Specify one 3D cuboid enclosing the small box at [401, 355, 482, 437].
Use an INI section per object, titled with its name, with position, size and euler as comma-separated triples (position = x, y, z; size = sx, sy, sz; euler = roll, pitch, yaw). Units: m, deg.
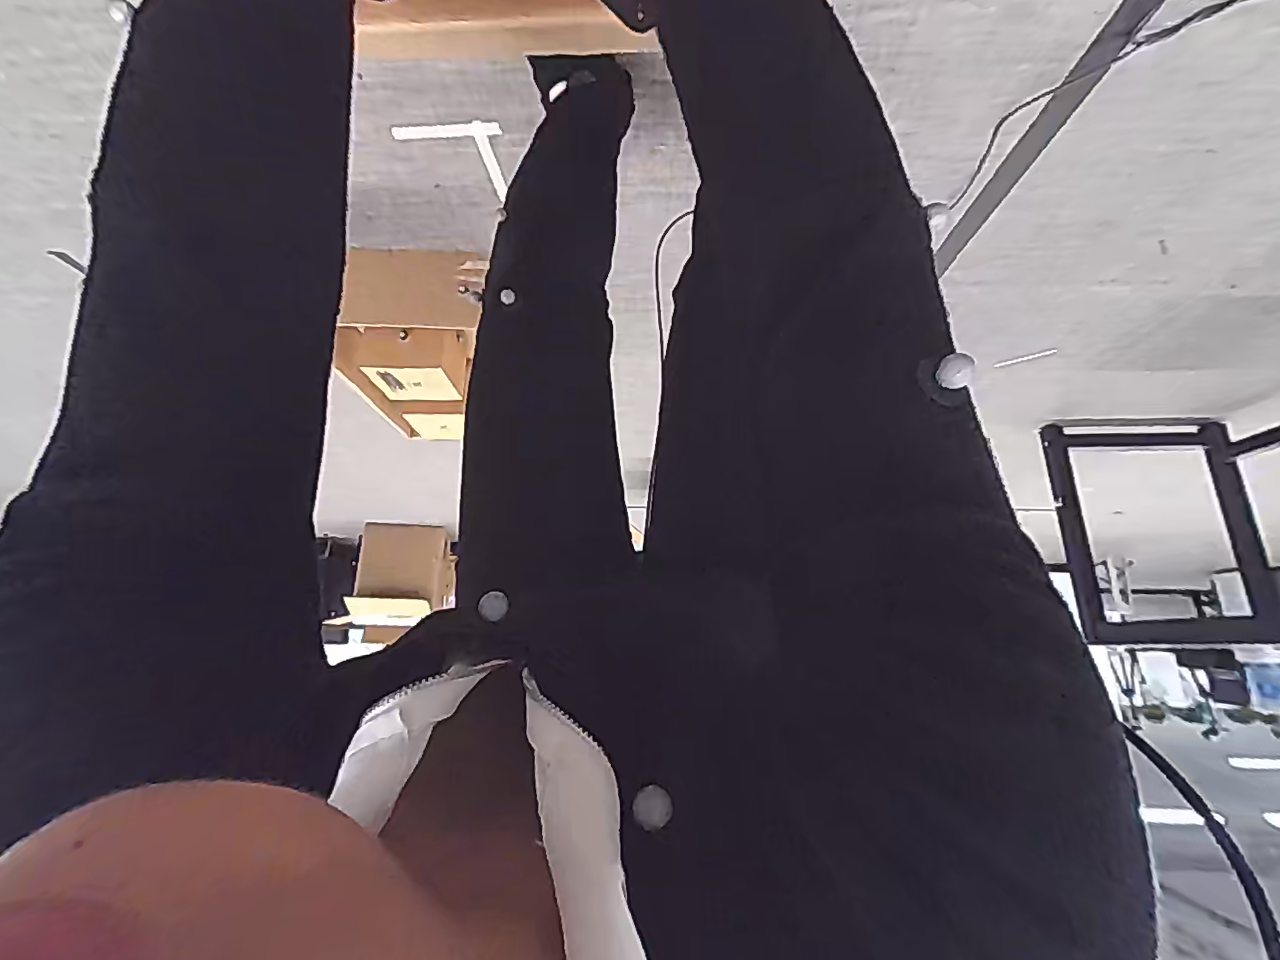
[small box]
position = -0.539, -0.228, 1.493
size = 0.168, 0.176, 0.179
euler = -1, 162, -3
